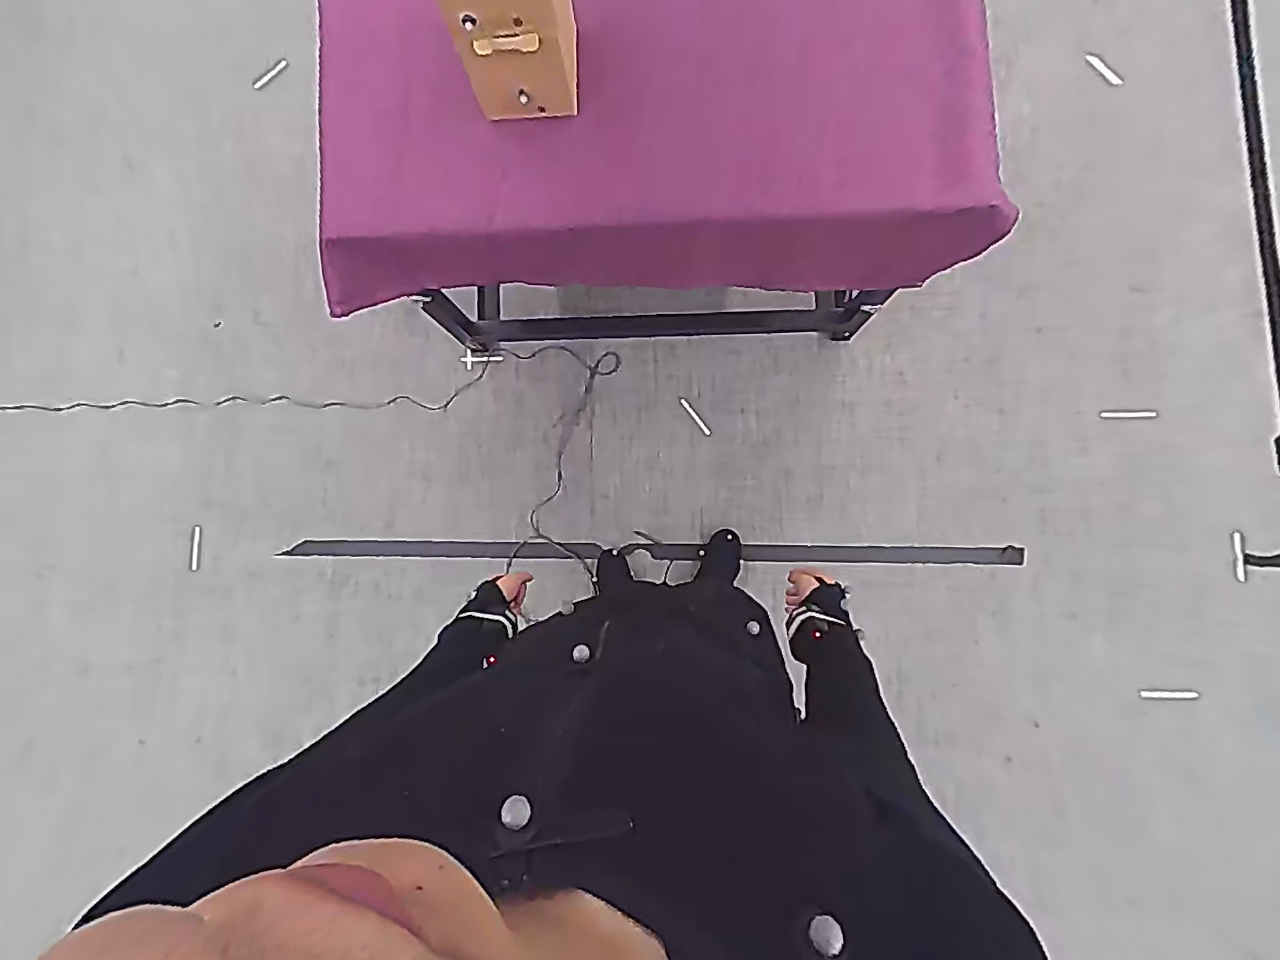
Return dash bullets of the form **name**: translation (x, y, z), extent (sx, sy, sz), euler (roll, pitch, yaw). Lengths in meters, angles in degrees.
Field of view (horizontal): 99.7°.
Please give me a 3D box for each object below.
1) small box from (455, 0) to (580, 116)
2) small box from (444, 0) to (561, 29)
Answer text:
- **small box**: translation (-0.198, -0.758, 0.911), extent (0.168, 0.176, 0.179), euler (-1, 85, 4)
- **small box**: translation (-0.209, -0.772, 0.748), extent (0.168, 0.176, 0.179), euler (-5, 84, 3)
